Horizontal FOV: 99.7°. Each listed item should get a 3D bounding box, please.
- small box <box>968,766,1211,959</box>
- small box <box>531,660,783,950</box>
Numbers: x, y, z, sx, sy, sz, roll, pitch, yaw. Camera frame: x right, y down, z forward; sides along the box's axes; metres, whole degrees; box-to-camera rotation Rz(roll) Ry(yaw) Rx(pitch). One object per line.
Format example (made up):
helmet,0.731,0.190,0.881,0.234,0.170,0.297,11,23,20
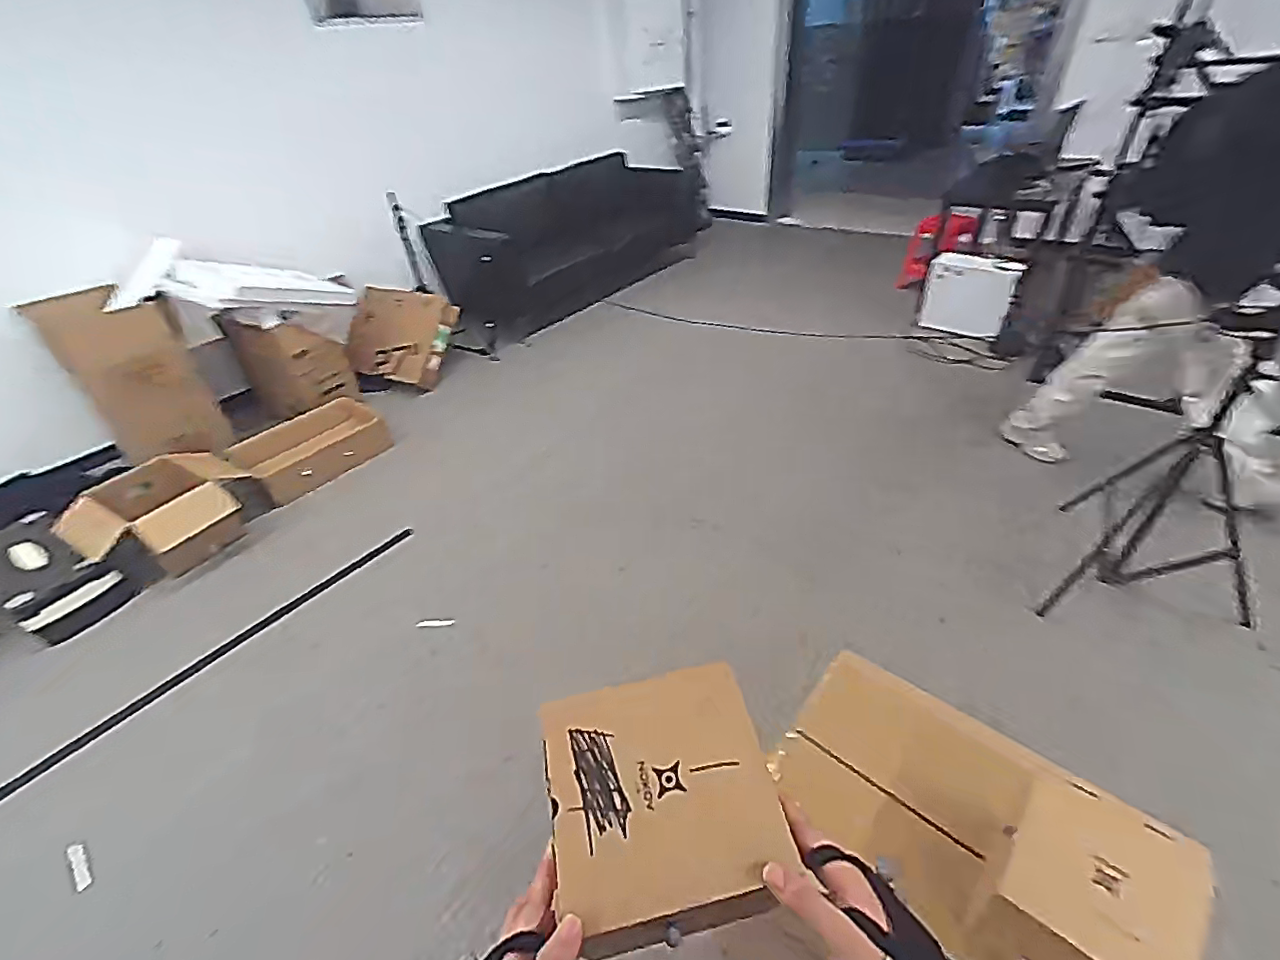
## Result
small box,0.516,0.494,0.639,0.168,0.176,0.179,24,50,35
small box,0.009,0.293,0.487,0.179,0.176,0.168,-11,45,-7
